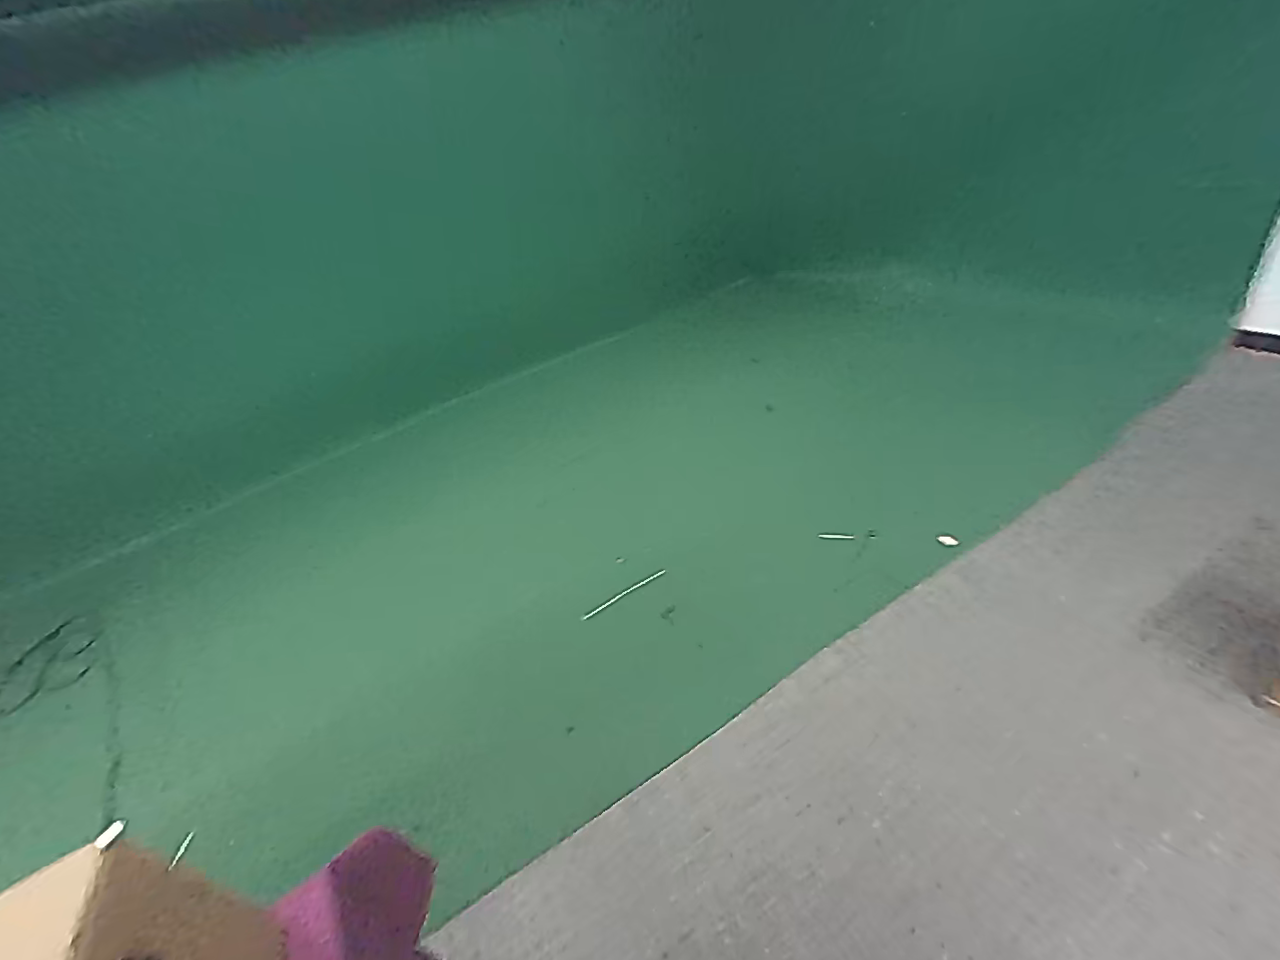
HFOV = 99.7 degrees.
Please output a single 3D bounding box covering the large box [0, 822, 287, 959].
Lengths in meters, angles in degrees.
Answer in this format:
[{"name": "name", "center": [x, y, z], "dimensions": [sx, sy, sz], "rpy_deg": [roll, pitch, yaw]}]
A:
[{"name": "large box", "center": [-0.629, 0.651, 0.511], "dimensions": [0.408, 0.320, 0.320], "rpy_deg": [-27, 37, -17]}]
